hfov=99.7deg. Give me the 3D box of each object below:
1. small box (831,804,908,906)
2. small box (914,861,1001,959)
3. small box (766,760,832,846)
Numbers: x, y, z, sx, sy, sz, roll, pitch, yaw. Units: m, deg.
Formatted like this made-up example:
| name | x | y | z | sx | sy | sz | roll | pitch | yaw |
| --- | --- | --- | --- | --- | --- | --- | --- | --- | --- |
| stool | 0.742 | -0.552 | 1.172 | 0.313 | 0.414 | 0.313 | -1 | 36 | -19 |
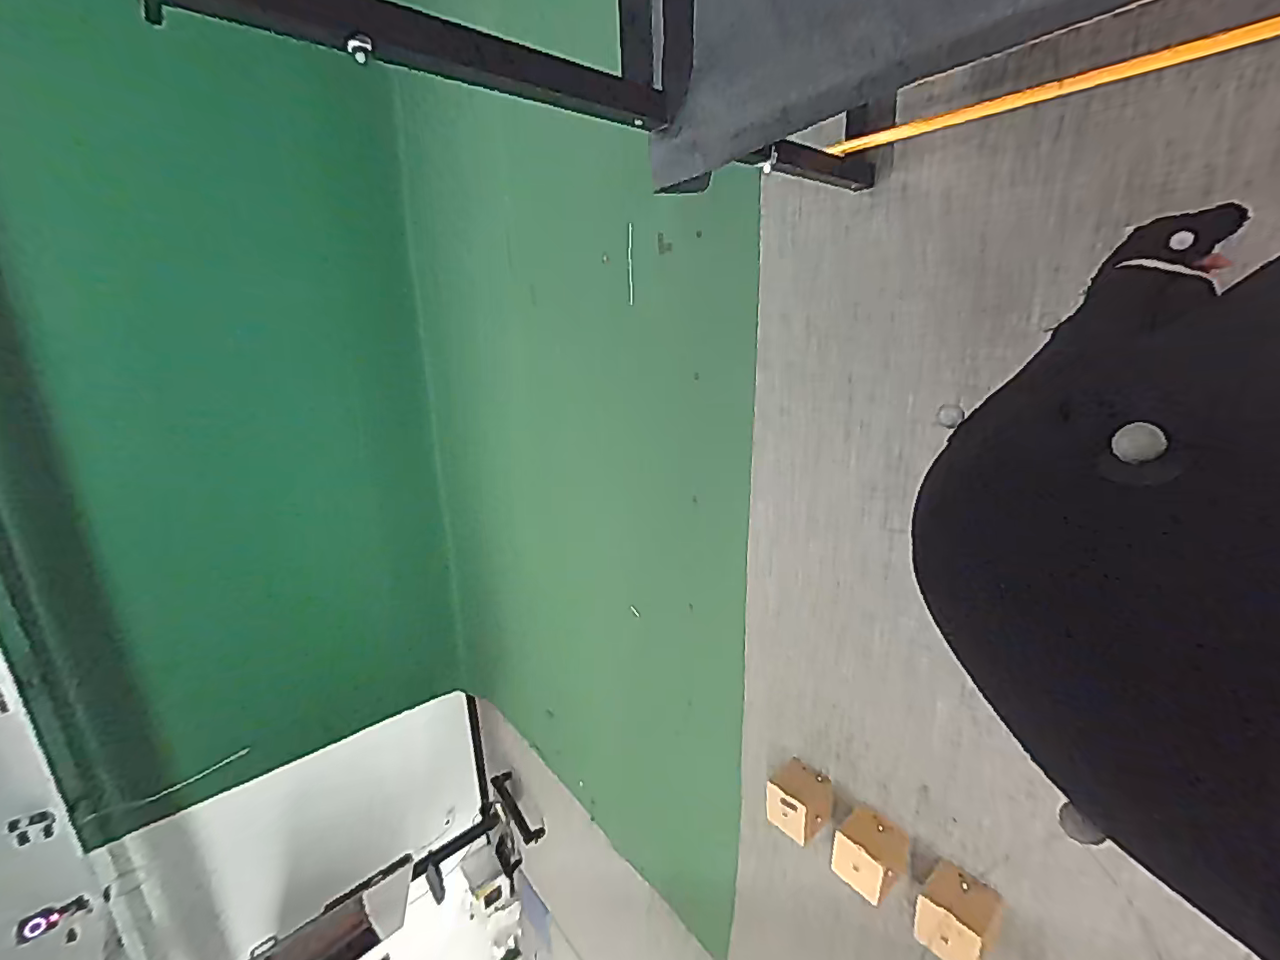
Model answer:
| name | x | y | z | sx | sy | sz | roll | pitch | yaw |
| --- | --- | --- | --- | --- | --- | --- | --- | --- | --- |
| small box | 0.754 | 1.221 | 1.772 | 0.168 | 0.176 | 0.179 | 20 | 115 | 48 |
| small box | 0.924 | 1.274 | 1.571 | 0.168 | 0.176 | 0.179 | 16 | 113 | 47 |
| small box | 0.581 | 1.167 | 1.971 | 0.168 | 0.176 | 0.179 | 15 | 113 | 49 |
